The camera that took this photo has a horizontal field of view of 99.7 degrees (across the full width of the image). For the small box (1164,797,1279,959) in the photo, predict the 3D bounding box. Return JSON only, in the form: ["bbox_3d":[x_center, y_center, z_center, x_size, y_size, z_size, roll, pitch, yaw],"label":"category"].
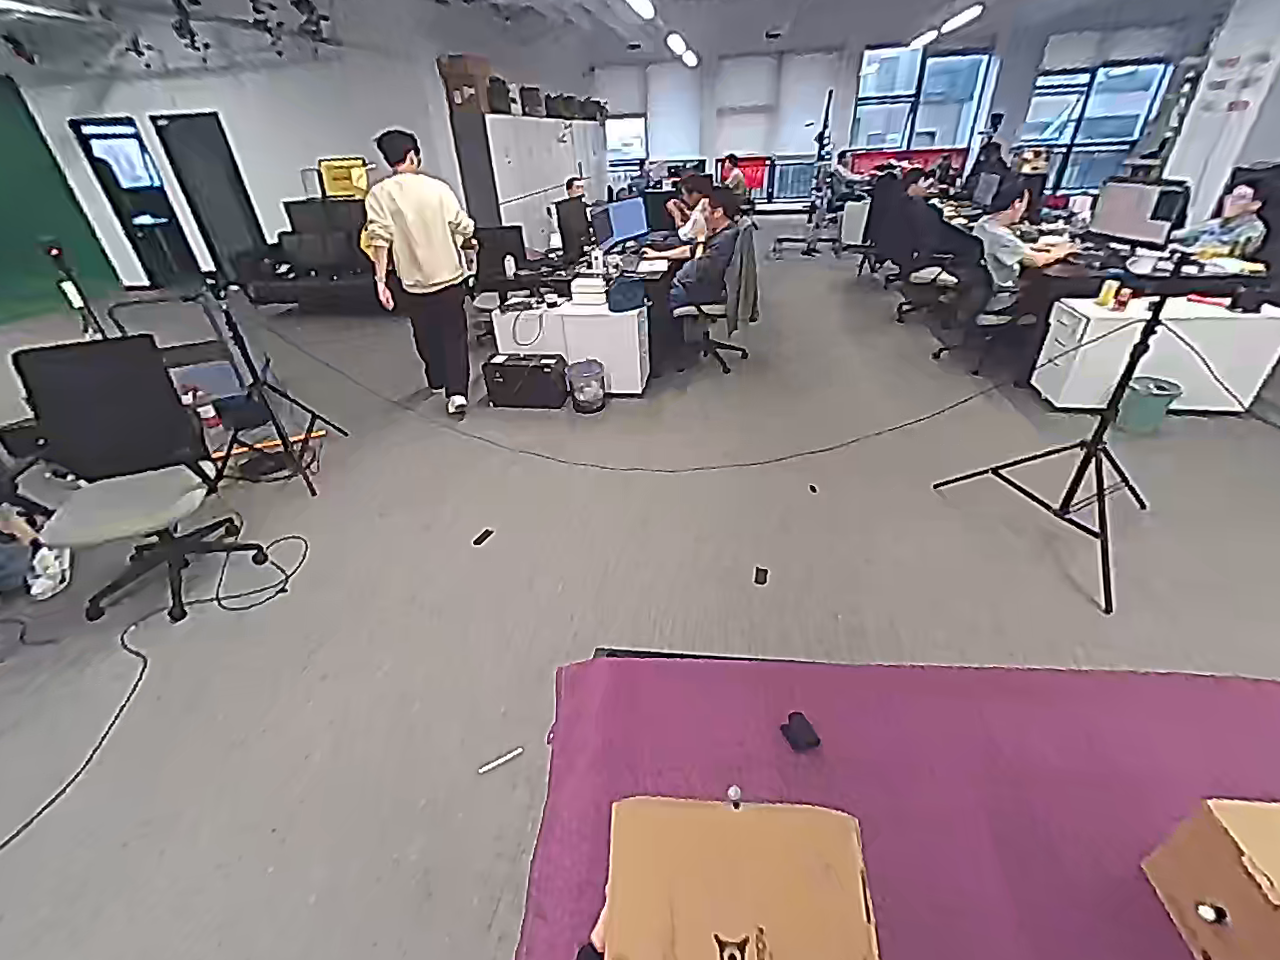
[{"bbox_3d":[0.738,0.479,0.592,0.179,0.176,0.168,0,32,7],"label":"small box"}]

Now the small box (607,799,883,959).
[{"bbox_3d":[0.072,0.342,0.411,0.179,0.176,0.168,-2,60,6],"label":"small box"}]
